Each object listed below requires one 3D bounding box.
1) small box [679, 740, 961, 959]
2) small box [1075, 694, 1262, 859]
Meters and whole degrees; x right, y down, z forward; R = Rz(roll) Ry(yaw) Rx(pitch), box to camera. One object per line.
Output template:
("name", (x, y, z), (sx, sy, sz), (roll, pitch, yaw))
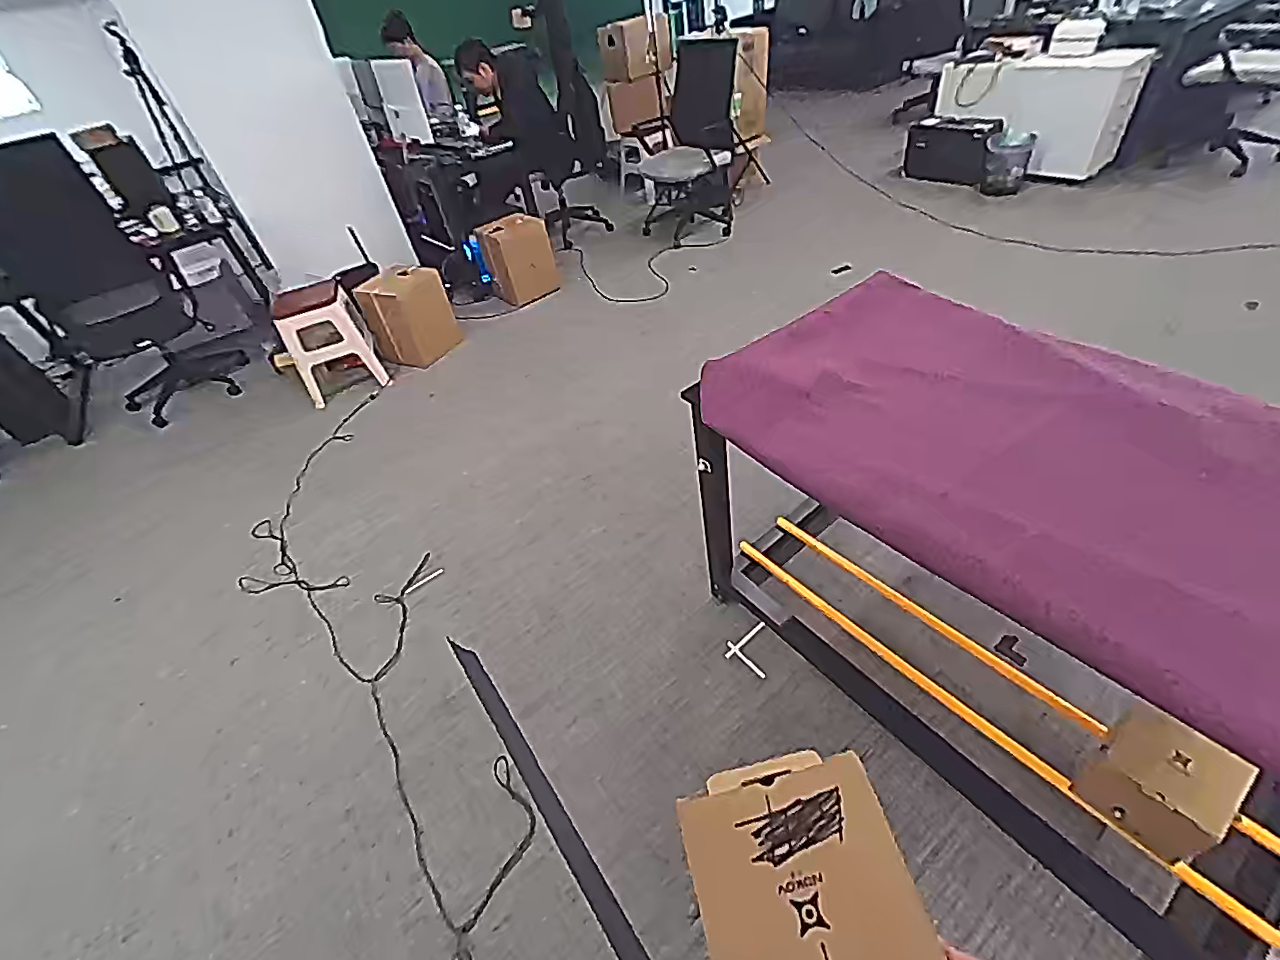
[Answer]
("small box", (0.141, 0.360, 0.471), (0.168, 0.176, 0.179), (-17, 49, -2))
("small box", (0.937, 0.534, 0.976), (0.179, 0.176, 0.168), (-35, 46, -20))
